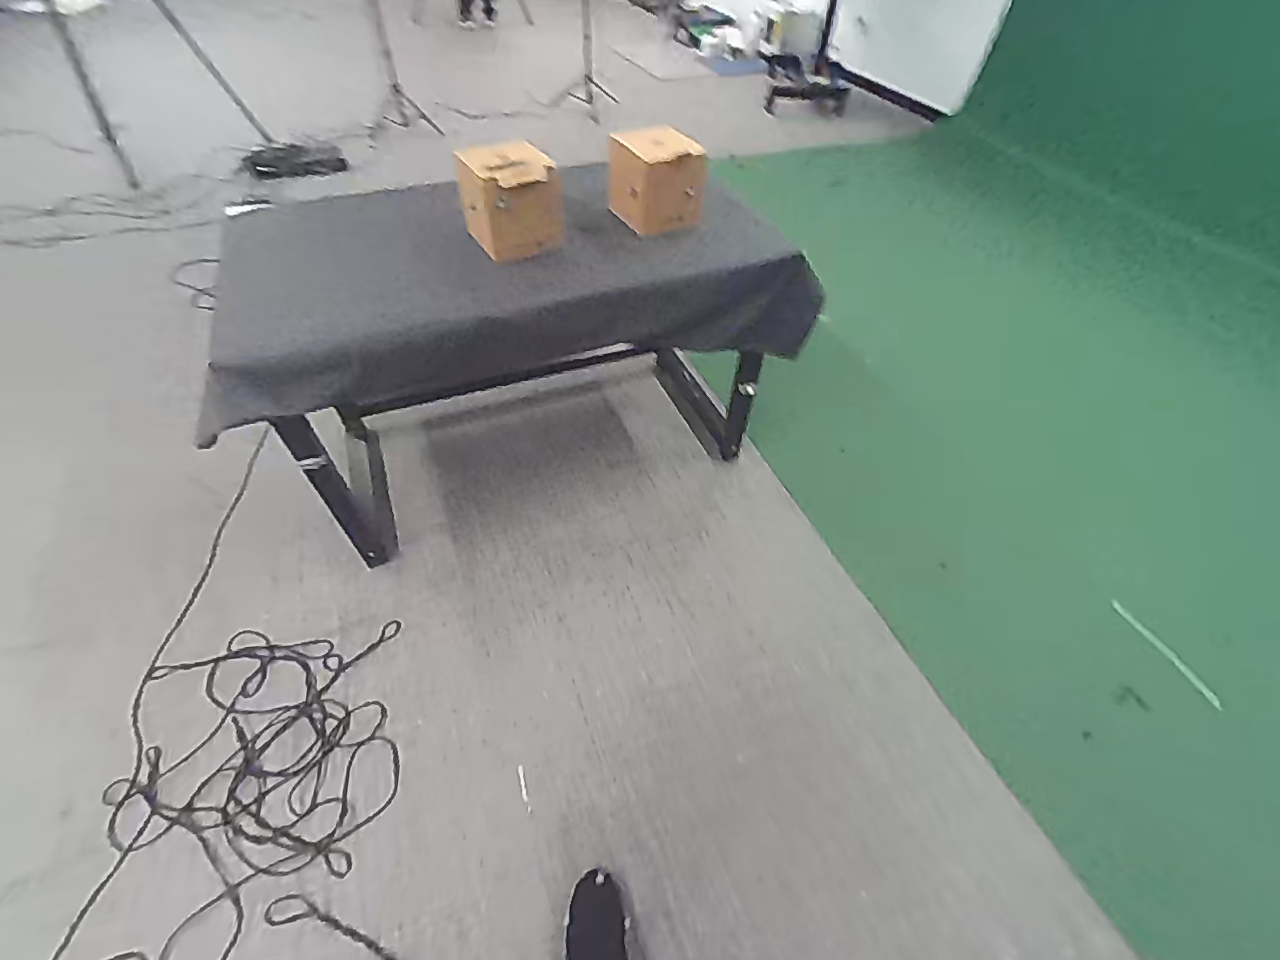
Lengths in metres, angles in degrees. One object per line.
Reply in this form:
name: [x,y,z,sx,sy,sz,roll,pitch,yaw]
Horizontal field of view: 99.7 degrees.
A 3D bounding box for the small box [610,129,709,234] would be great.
small box: [0.041,-0.699,1.277,0.168,0.176,0.179,-22,53,-21]
